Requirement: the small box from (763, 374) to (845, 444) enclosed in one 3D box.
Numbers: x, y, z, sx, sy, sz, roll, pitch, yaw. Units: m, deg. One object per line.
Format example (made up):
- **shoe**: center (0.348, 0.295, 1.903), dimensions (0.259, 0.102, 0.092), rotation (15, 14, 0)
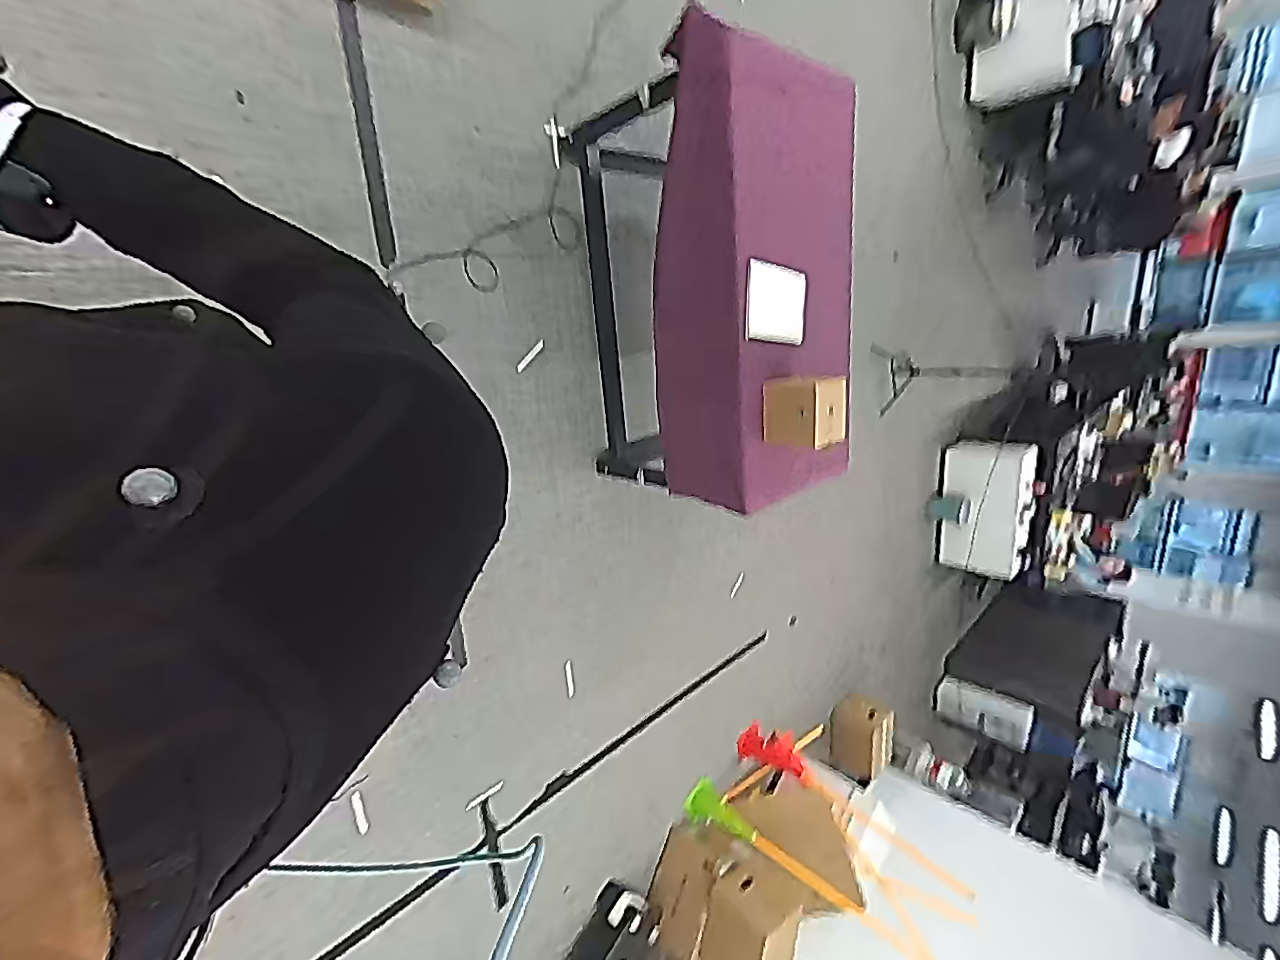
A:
- **small box**: center (0.465, -0.205, 1.541), dimensions (0.168, 0.176, 0.179), rotation (-17, 109, -40)
